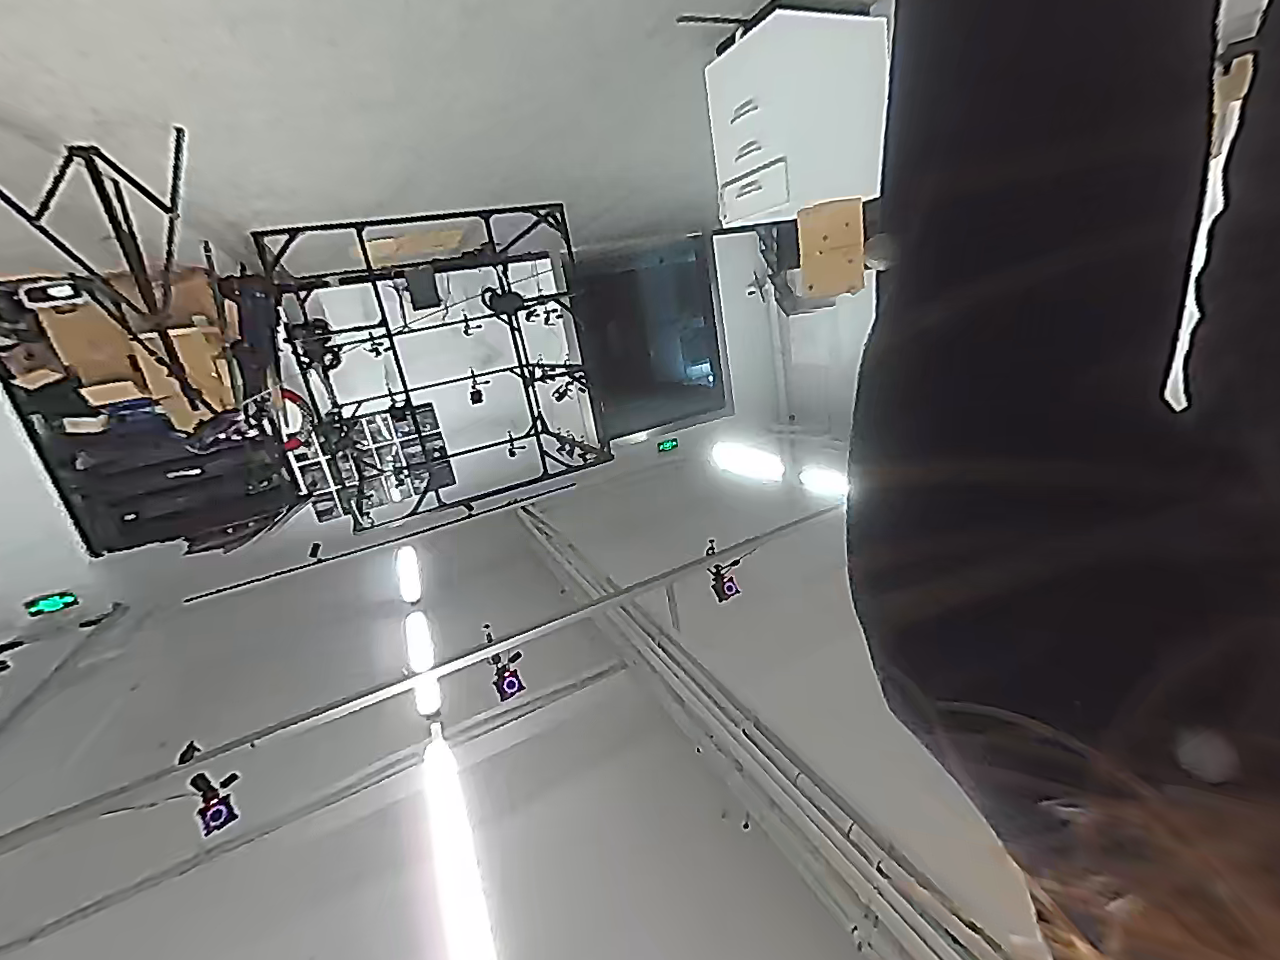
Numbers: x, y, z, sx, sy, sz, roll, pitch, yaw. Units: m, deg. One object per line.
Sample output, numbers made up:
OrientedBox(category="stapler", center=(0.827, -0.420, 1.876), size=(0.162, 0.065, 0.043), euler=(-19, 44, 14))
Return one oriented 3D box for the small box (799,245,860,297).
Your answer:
OrientedBox(category="small box", center=(0.752, -0.832, 2.148), size=(0.168, 0.176, 0.179), euler=(-21, -159, -26))
